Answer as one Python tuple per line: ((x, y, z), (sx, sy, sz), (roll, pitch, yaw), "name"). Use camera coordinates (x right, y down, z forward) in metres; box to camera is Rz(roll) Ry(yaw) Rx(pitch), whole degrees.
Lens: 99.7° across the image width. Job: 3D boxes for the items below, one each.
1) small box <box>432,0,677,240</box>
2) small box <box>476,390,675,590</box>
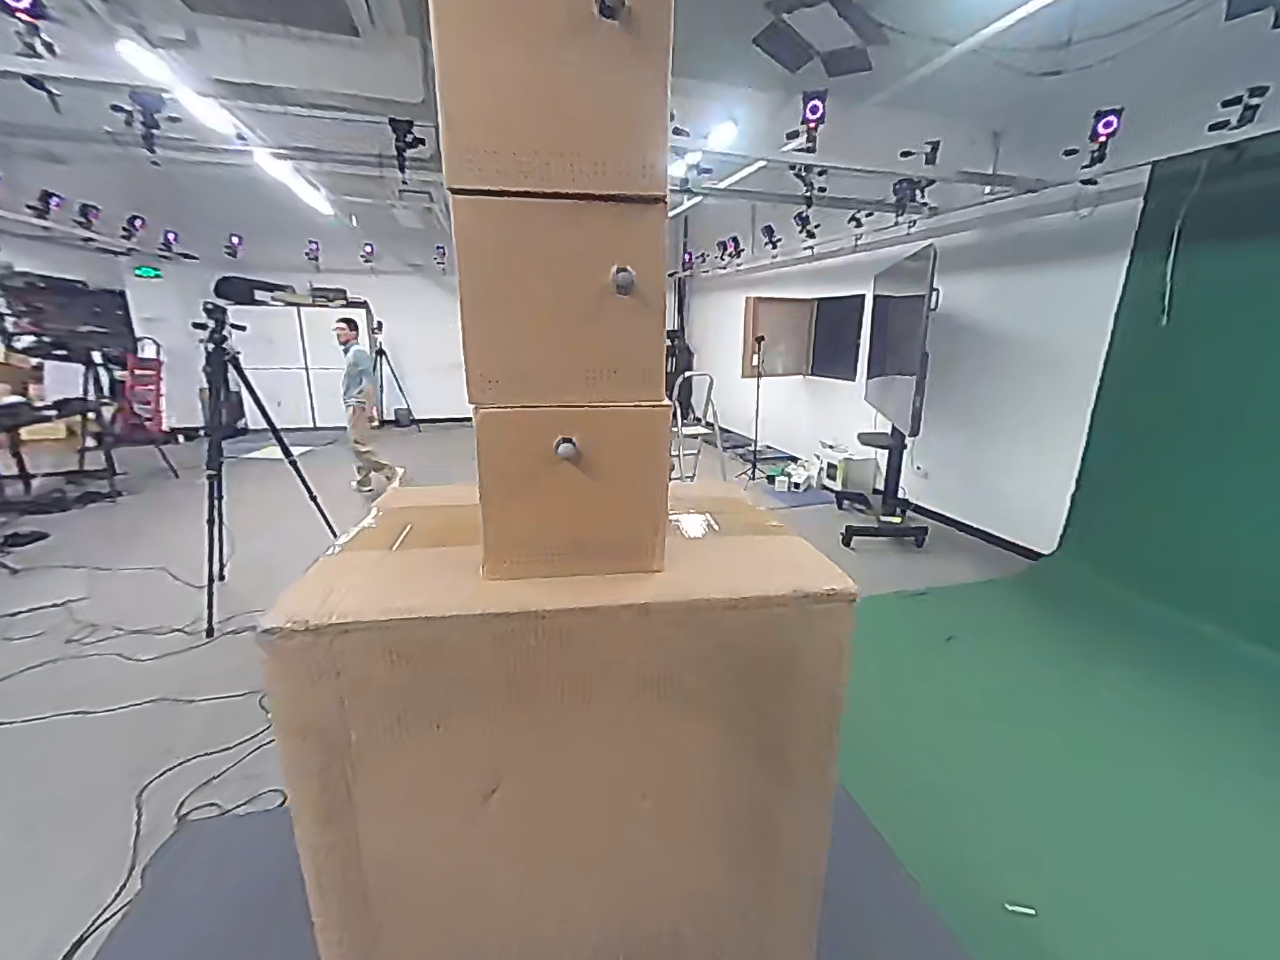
((-0.069, -0.312, 0.476), (0.179, 0.176, 0.168), (-1, 17, -6), "small box")
((-0.066, 0.003, 0.570), (0.179, 0.176, 0.168), (-2, 18, -7), "small box")
